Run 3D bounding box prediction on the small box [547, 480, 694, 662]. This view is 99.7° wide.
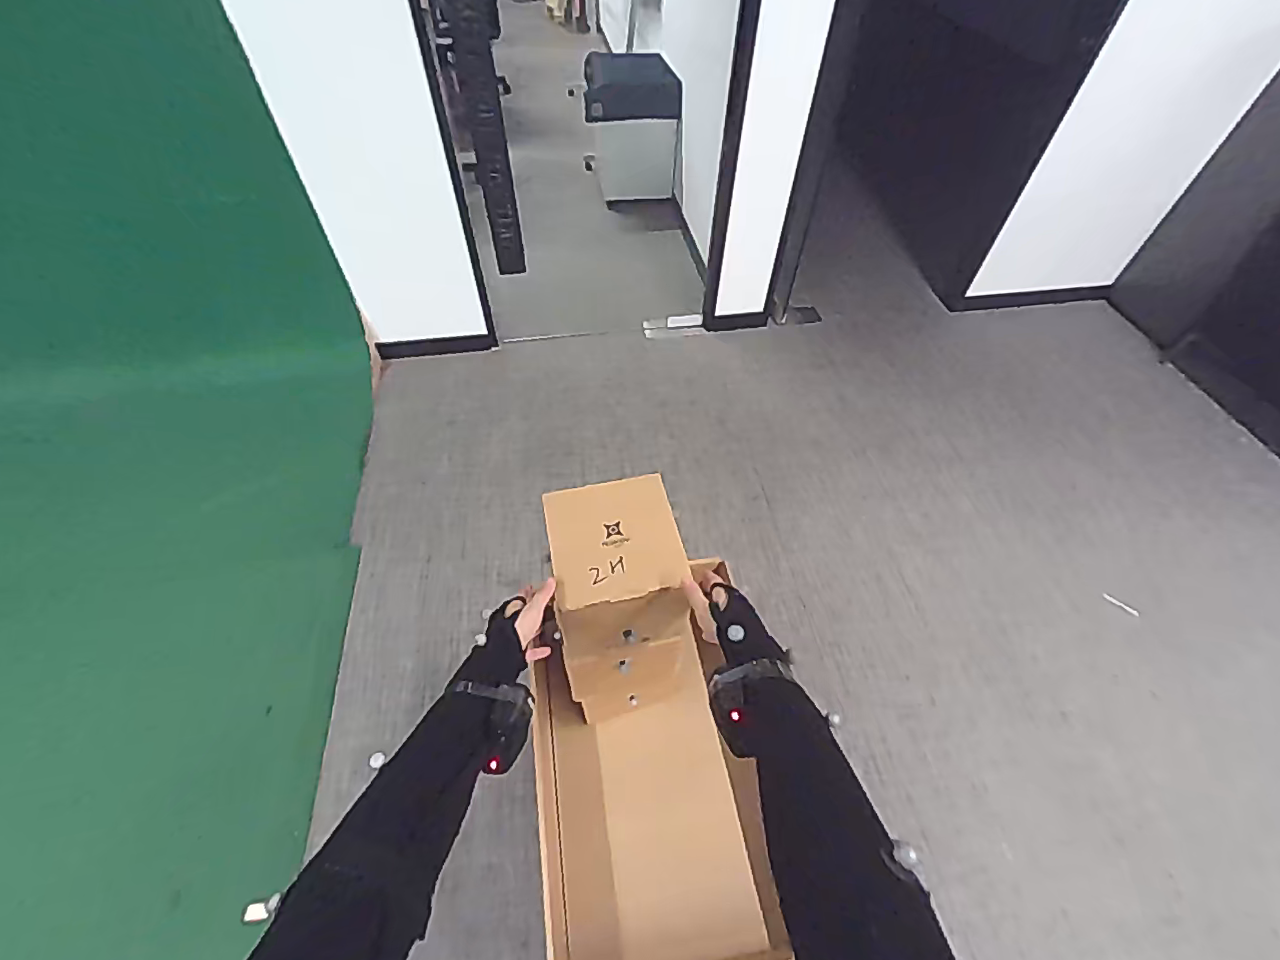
[{"bbox_3d":[-0.032,0.128,0.754,0.168,0.176,0.179,-10,53,-7],"label":"small box"}]

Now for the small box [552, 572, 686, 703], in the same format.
[{"bbox_3d":[-0.038,0.240,0.876,0.179,0.176,0.168,-12,53,-9],"label":"small box"}]
